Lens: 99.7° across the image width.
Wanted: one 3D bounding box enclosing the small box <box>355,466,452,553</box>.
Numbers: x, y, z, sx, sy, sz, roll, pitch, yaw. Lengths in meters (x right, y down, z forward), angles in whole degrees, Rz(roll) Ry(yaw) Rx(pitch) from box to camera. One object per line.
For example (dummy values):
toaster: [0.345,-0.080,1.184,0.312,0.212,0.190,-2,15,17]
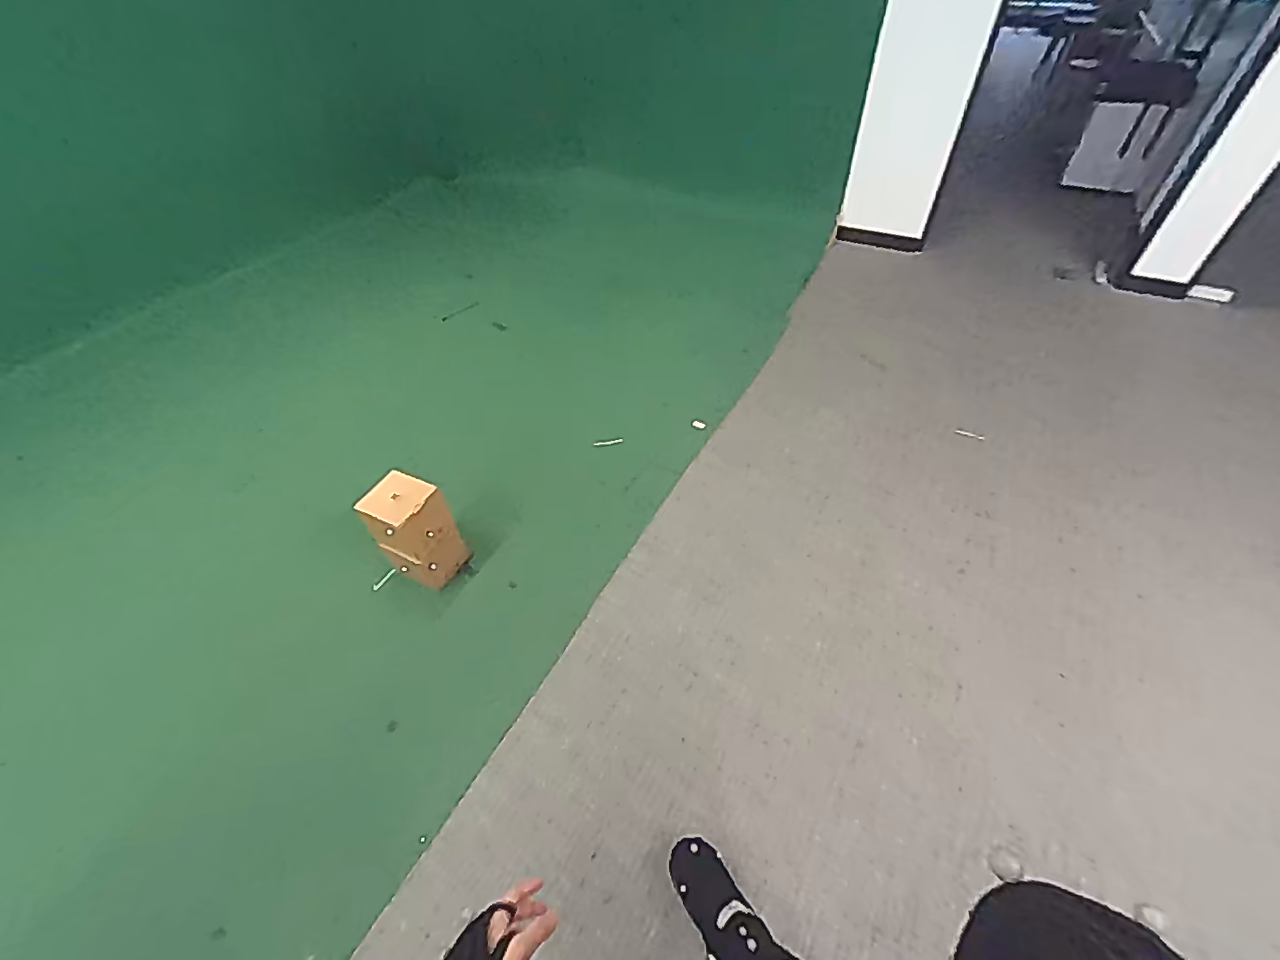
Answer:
small box: [-0.697,0.092,1.611,0.179,0.176,0.168,19,52,19]
